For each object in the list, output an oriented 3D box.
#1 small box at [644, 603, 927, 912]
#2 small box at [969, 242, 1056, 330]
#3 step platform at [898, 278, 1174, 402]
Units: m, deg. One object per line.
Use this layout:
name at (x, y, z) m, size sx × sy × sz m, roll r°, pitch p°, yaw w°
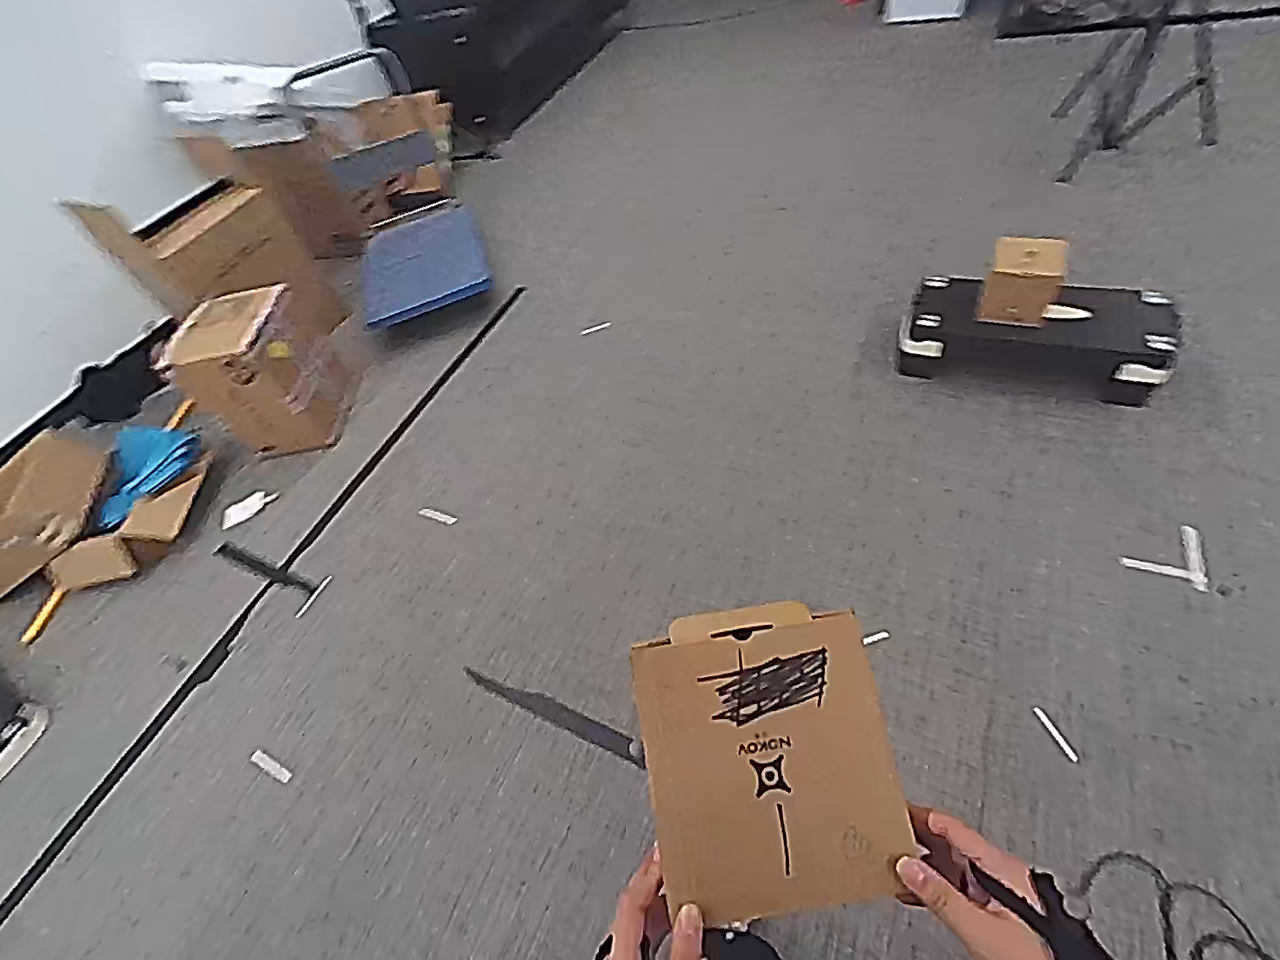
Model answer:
small box at (0.095, 0.205, 0.444) m, size 0.168 × 0.176 × 0.179 m, roll -9°, pitch 74°, yaw 1°
small box at (1.077, -0.562, 1.572) m, size 0.168 × 0.176 × 0.179 m, roll 15°, pitch 58°, yaw 24°
step platform at (1.192, -0.454, 1.683) m, size 0.684 × 0.204 × 0.286 m, roll 13°, pitch 57°, yaw 23°
